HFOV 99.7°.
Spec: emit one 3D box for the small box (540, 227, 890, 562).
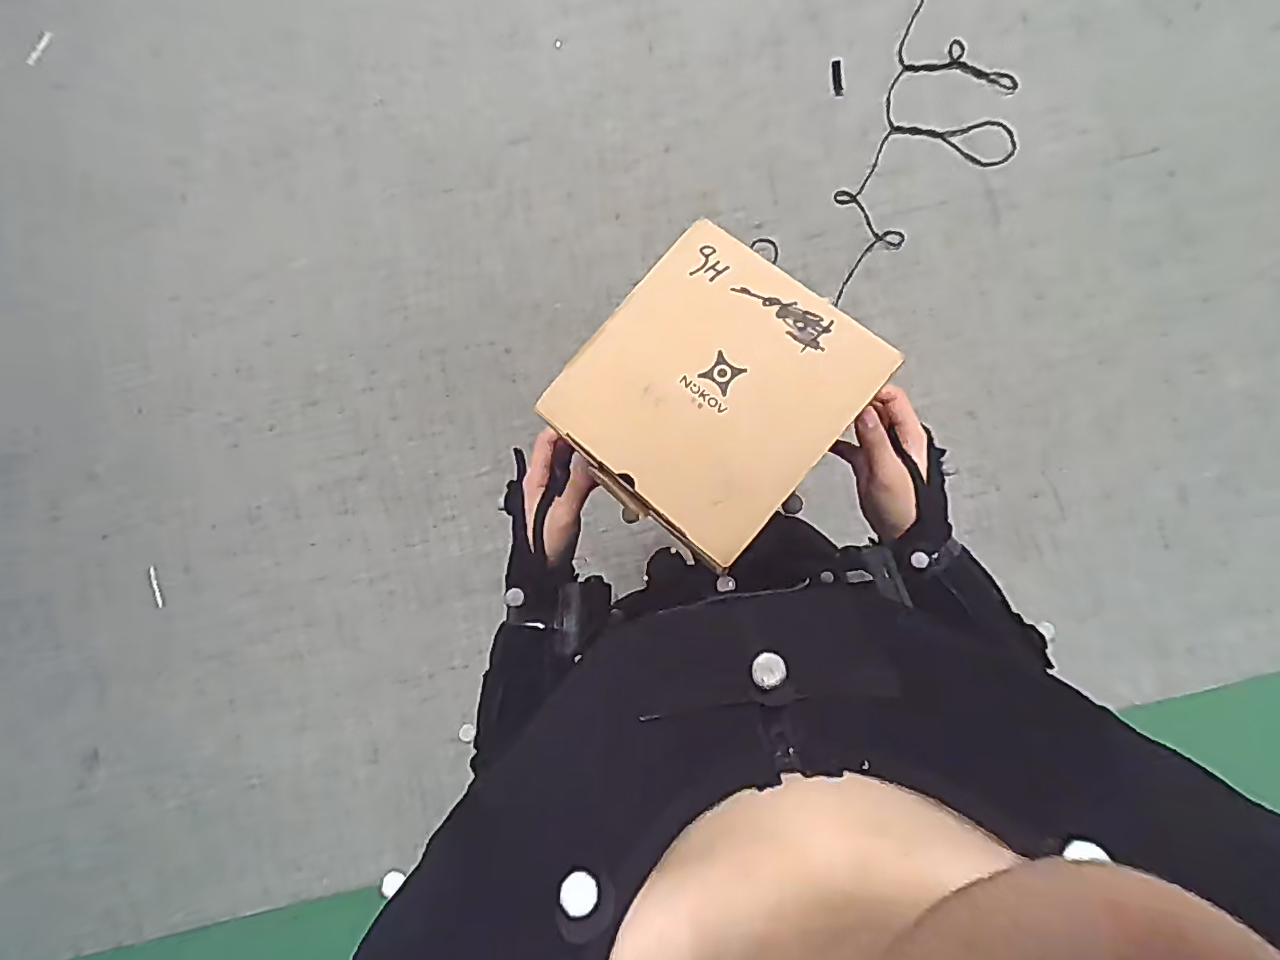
[{"bbox_3d":[0.057,-0.048,0.432,0.168,0.176,0.179,40,87,13],"label":"small box"}]
